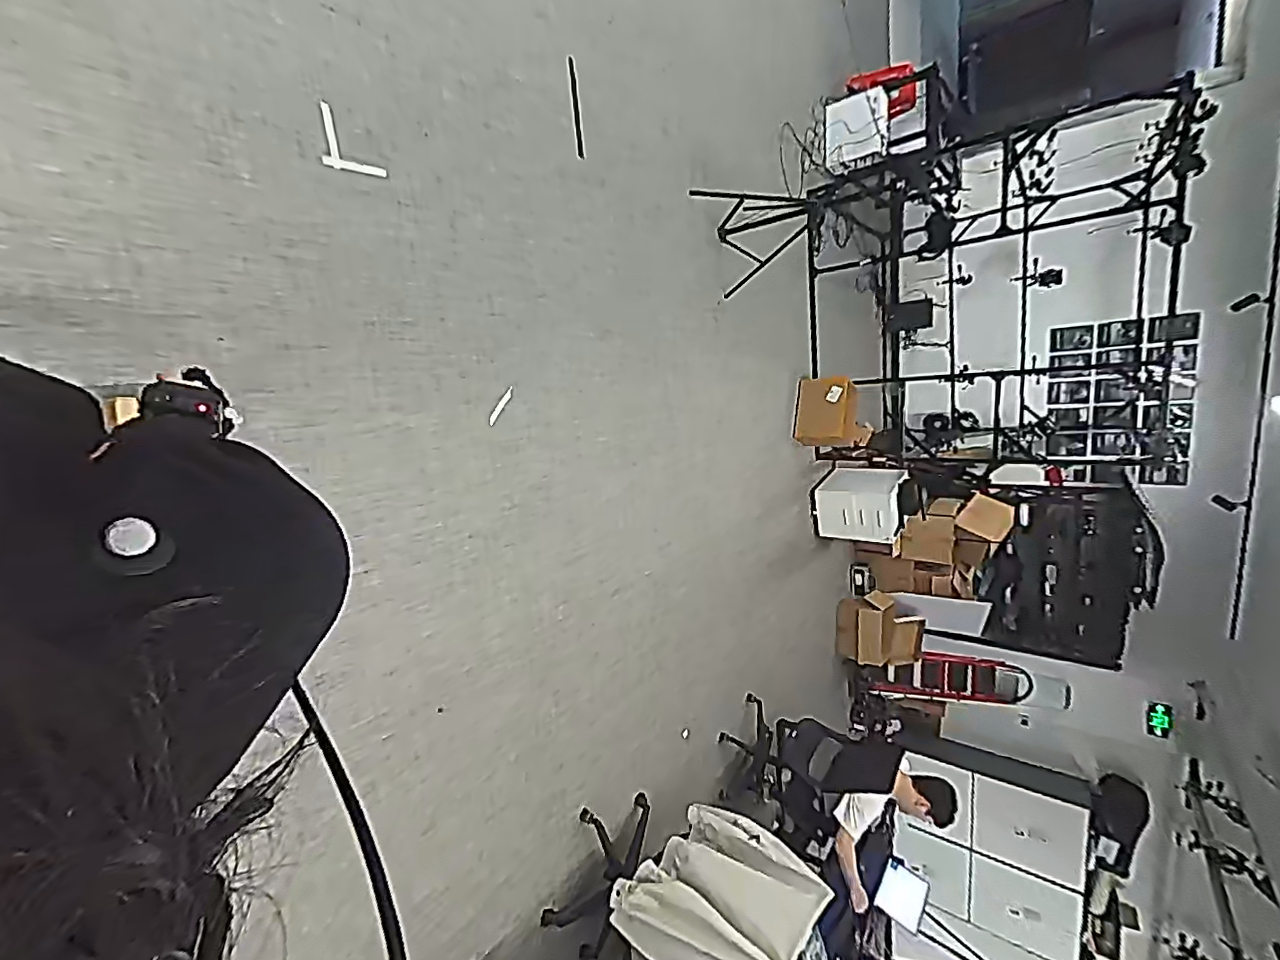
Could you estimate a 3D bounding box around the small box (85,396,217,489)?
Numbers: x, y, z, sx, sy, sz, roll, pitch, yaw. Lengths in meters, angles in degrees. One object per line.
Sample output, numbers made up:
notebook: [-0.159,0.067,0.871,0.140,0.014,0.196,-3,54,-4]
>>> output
small box: [-1.006,-0.079,1.114,0.168,0.176,0.179,-12,102,-51]
